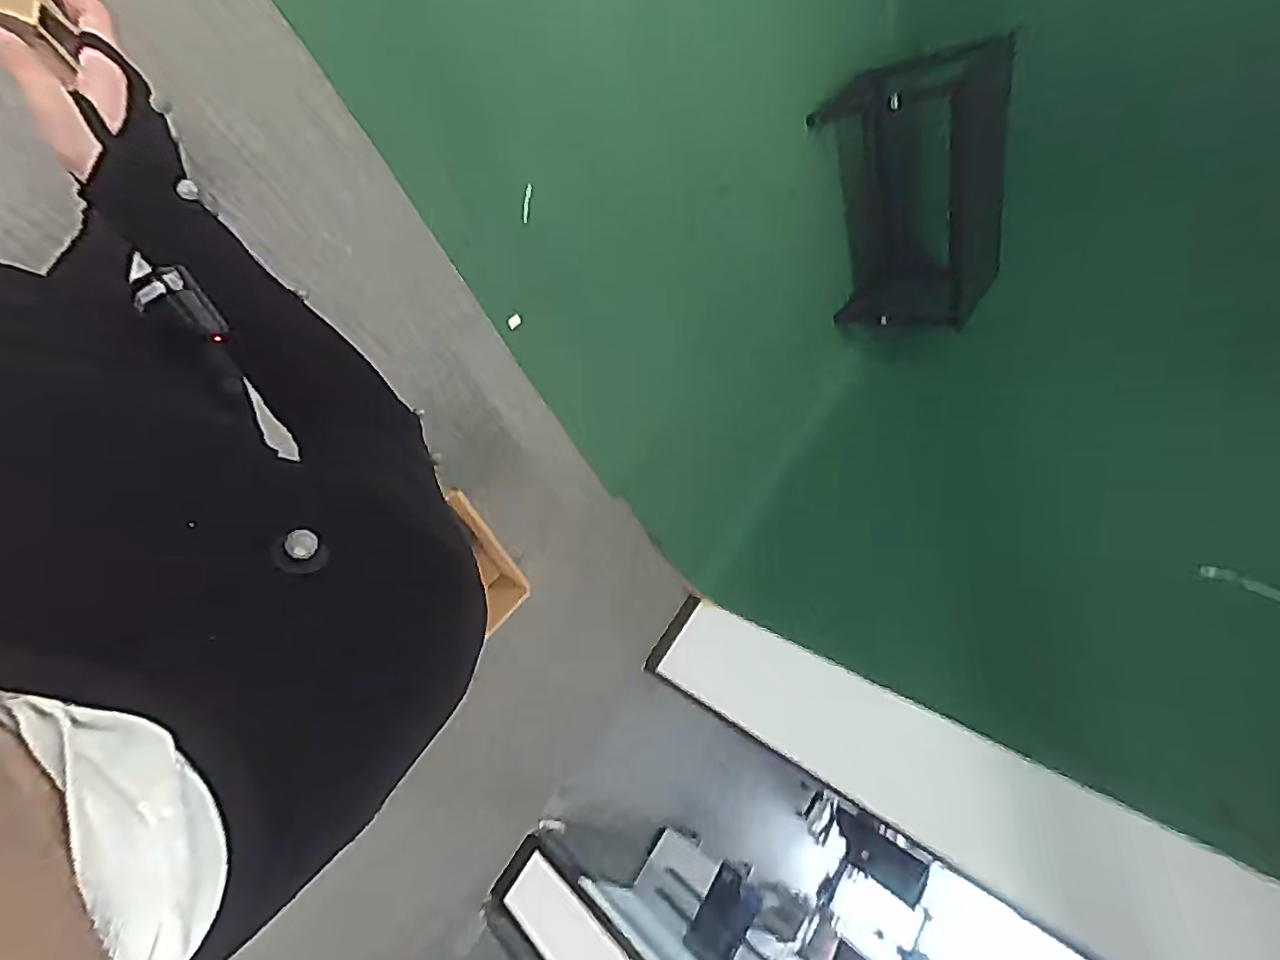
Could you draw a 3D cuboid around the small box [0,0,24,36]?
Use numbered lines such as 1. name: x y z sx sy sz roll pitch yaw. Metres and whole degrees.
1. small box: -0.526 -0.439 0.354 0.168 0.176 0.179 4 110 -50
